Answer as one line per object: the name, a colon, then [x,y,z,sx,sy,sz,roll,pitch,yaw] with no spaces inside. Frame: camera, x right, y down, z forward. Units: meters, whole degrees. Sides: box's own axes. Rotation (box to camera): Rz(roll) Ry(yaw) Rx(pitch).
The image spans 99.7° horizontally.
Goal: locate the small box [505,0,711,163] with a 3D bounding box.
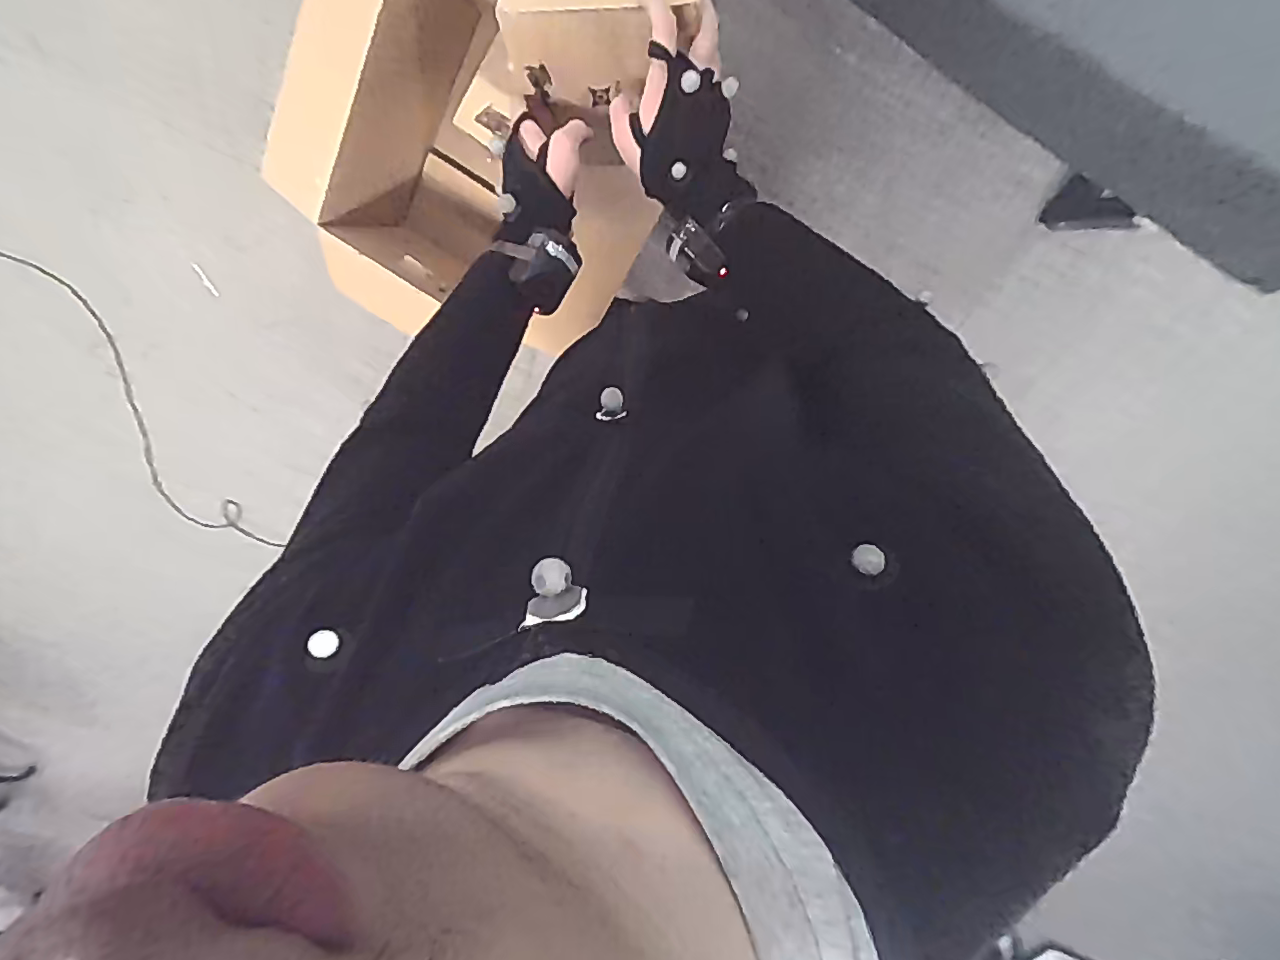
small box: [-0.019,-0.453,0.541,0.179,0.168,0.176,2,76,6]
